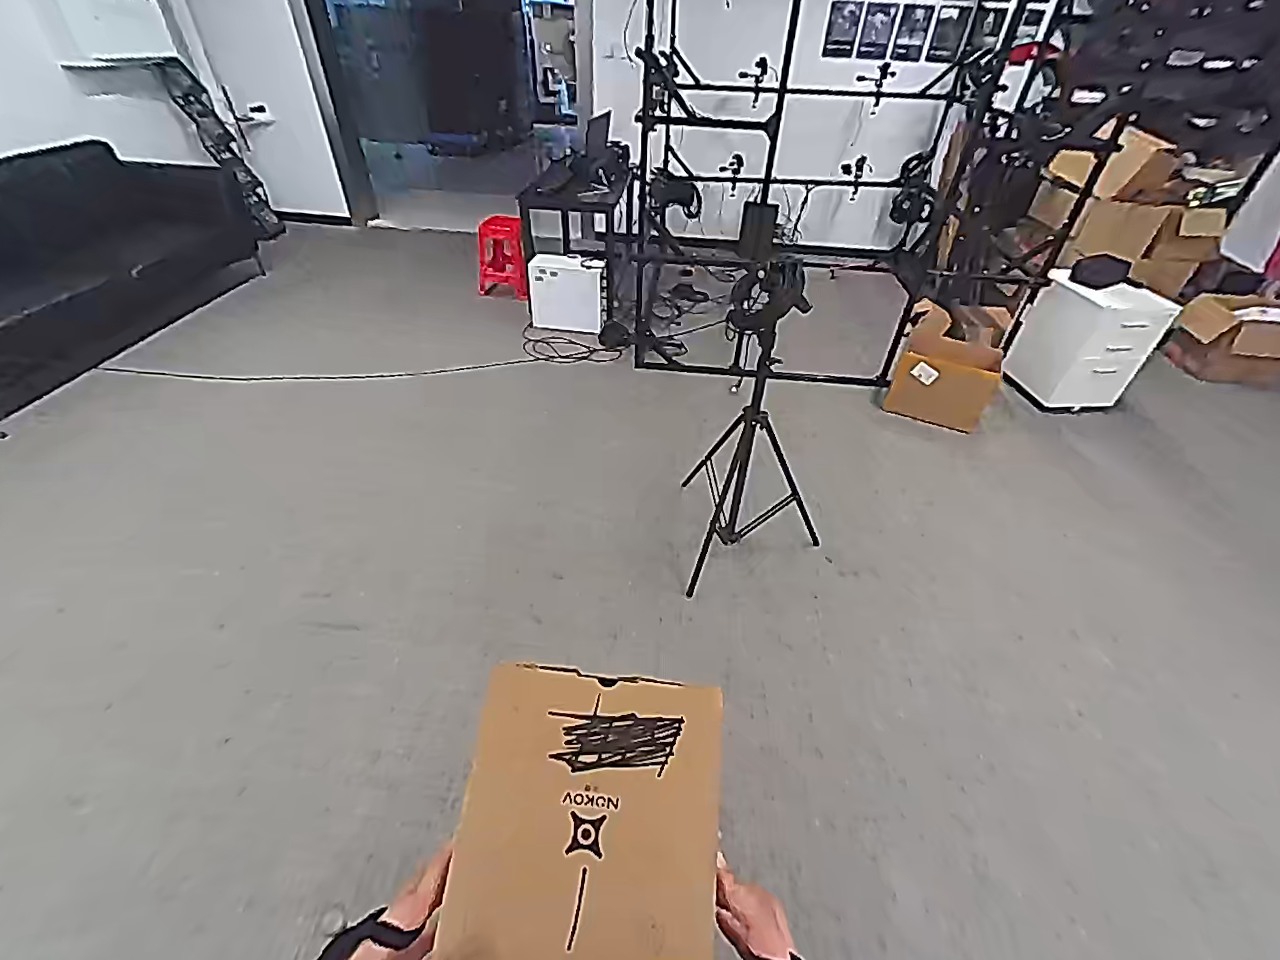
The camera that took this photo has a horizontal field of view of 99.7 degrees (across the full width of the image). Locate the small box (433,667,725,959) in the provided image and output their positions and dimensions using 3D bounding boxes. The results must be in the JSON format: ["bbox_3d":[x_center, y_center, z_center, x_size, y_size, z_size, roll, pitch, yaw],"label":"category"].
[{"bbox_3d":[-0.033,0.255,0.415,0.168,0.176,0.179,6,63,1],"label":"small box"}]
